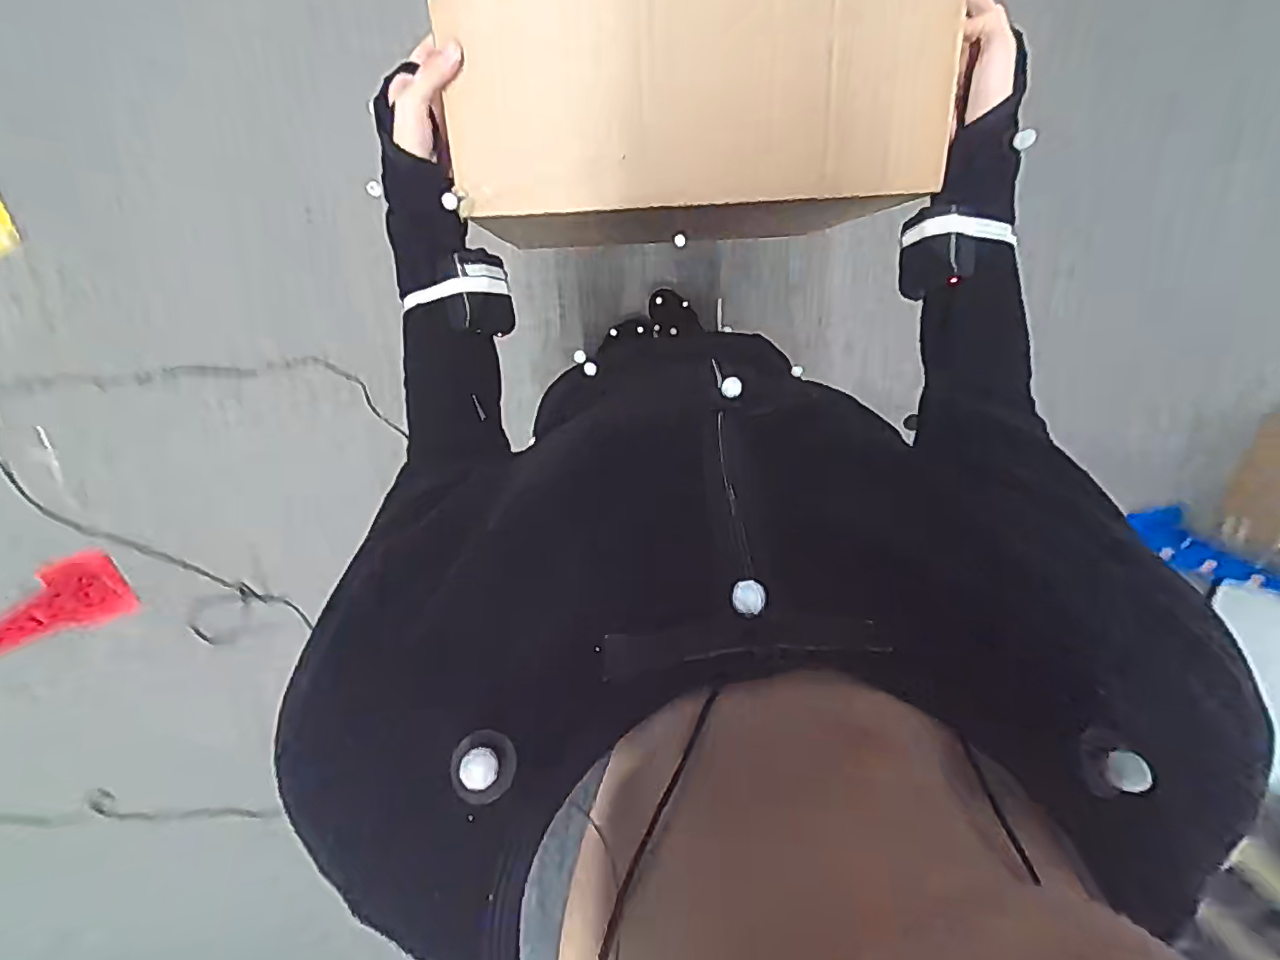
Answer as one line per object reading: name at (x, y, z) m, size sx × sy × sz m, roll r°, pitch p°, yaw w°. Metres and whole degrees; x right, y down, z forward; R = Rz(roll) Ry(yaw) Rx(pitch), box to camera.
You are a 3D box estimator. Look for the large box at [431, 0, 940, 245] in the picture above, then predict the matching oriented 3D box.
large box at (0.032, -0.432, 0.553) m, size 0.408 × 0.320 × 0.320 m, roll -5°, pitch 108°, yaw -1°
